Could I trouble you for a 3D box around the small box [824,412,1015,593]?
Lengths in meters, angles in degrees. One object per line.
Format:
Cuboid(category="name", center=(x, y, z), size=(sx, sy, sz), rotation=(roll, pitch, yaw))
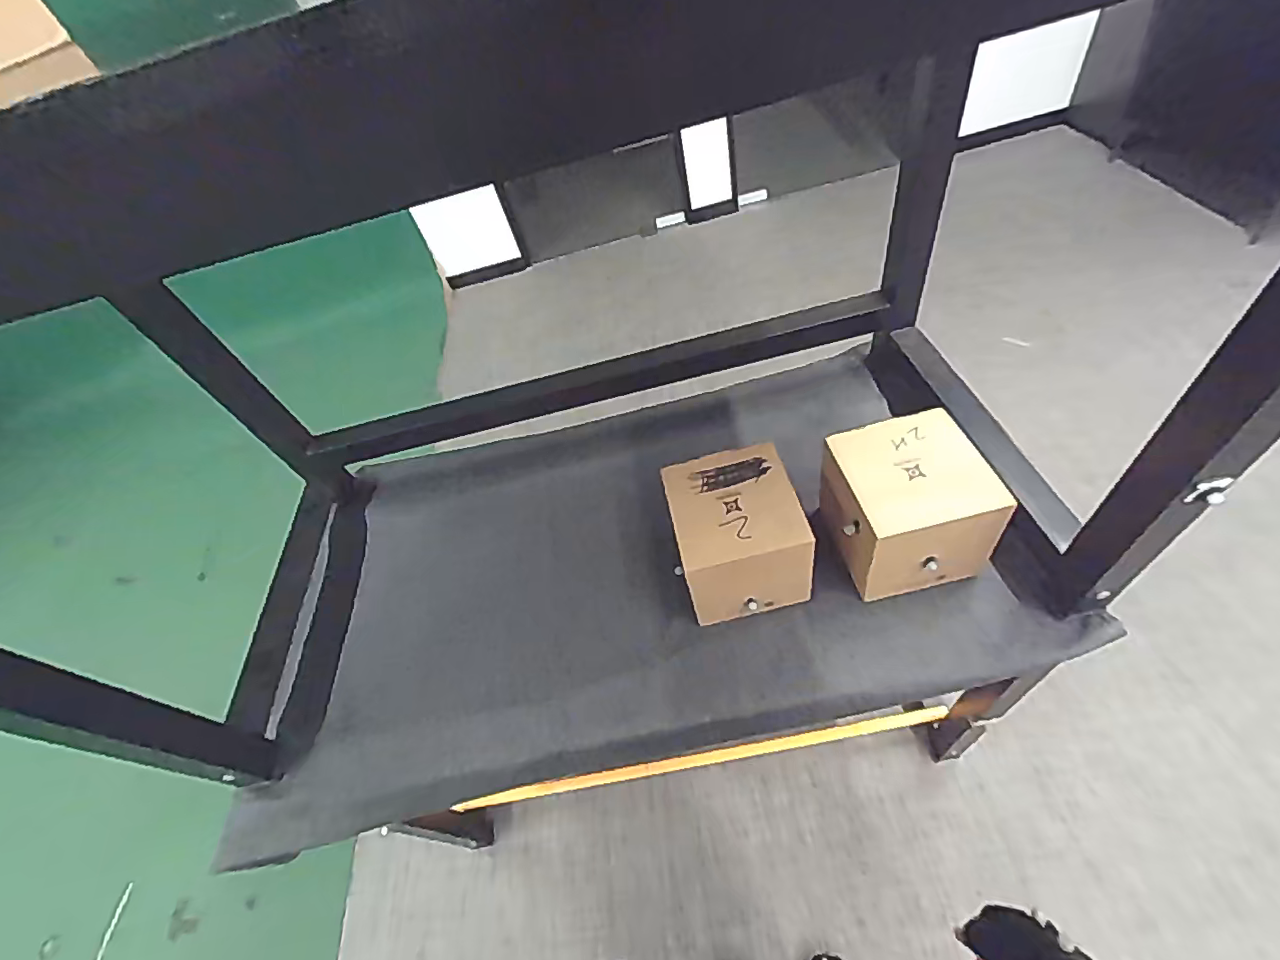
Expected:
Cuboid(category="small box", center=(0.366, 0.040, 0.748), size=(0.168, 0.176, 0.179), rotation=(-14, 49, 3))
